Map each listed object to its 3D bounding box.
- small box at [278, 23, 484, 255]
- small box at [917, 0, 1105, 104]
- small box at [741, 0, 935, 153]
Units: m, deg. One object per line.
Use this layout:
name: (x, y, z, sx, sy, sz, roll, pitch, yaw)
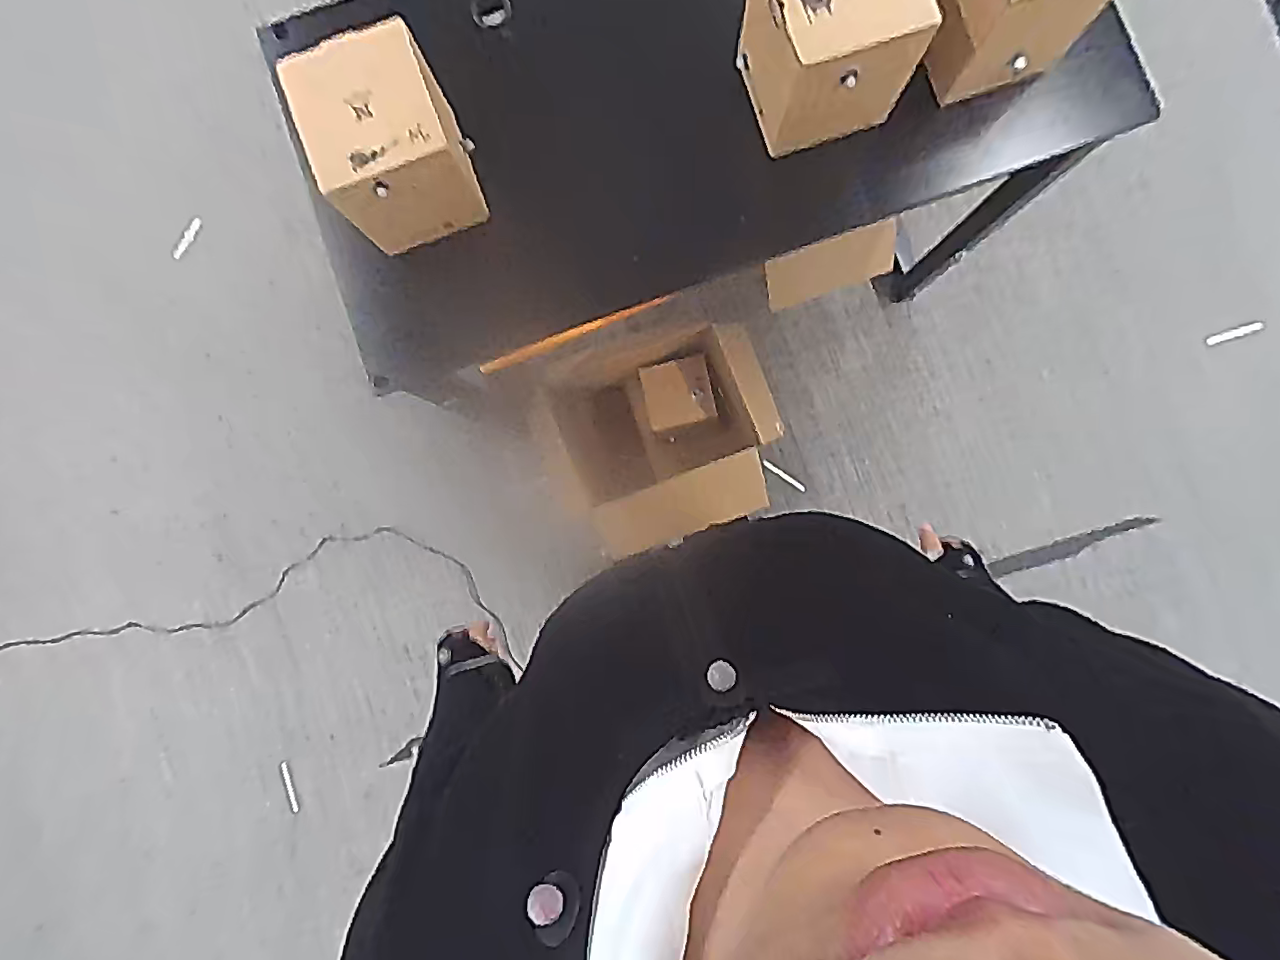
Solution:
small box: (-0.334, -0.442, 0.728, 0.168, 0.176, 0.179, -20, 87, 1)
small box: (0.475, -0.650, 0.706, 0.168, 0.176, 0.179, -18, 87, 3)
small box: (0.242, -0.575, 0.713, 0.179, 0.176, 0.168, -17, 87, 1)
